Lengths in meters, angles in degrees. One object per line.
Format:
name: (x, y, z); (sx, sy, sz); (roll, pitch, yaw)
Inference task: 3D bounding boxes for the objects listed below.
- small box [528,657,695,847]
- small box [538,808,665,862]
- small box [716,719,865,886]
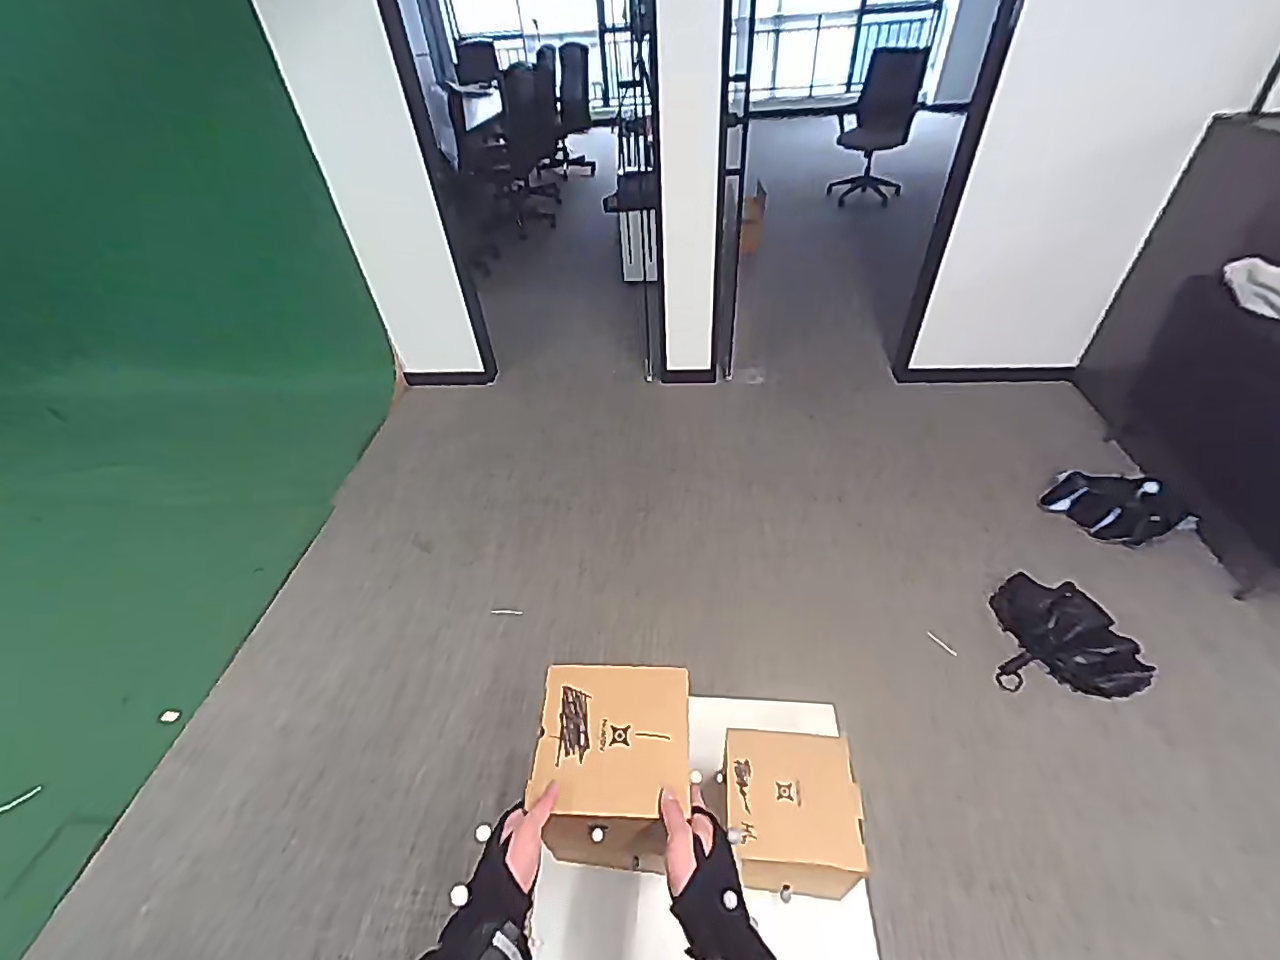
small box: (-0.024, 0.335, 0.664); (0.179, 0.176, 0.168); (2, 46, 2)
small box: (-0.040, 0.460, 0.823); (0.179, 0.176, 0.168); (2, 43, 6)
small box: (0.207, 0.475, 0.794); (0.179, 0.176, 0.168); (3, 44, 6)
